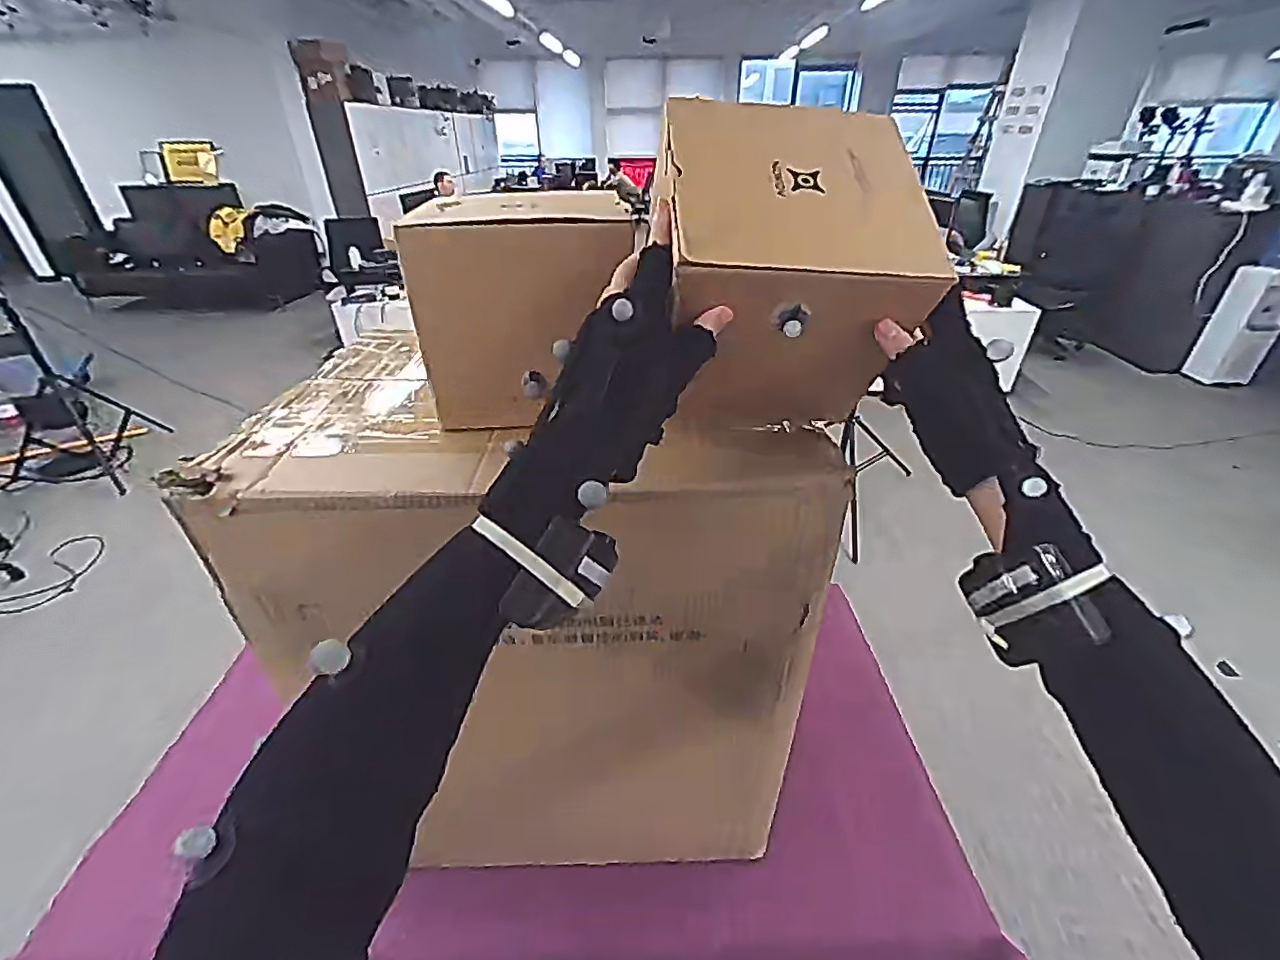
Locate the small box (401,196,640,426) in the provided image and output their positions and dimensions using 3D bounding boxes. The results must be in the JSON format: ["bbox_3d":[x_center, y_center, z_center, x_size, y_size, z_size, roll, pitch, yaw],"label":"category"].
[{"bbox_3d":[-0.096,-0.161,0.506,0.179,0.176,0.168,-3,33,-6],"label":"small box"}]
